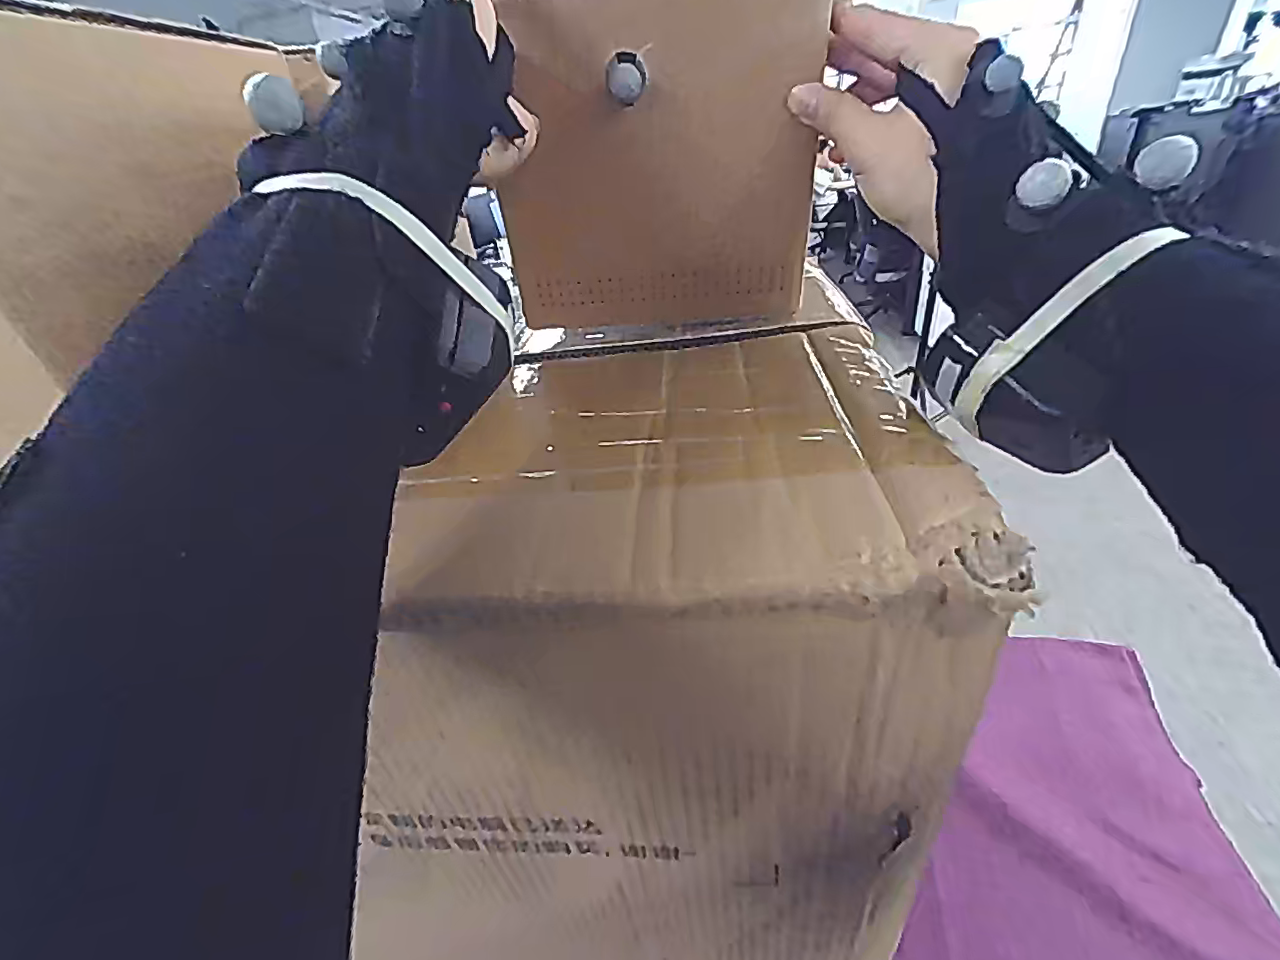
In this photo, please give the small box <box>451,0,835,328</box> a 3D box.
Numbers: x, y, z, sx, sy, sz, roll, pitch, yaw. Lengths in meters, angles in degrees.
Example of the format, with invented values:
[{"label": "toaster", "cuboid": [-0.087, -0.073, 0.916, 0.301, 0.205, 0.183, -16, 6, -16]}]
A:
[{"label": "small box", "cuboid": [0.013, -0.213, 0.348, 0.179, 0.176, 0.168, -2, 41, 7]}]
